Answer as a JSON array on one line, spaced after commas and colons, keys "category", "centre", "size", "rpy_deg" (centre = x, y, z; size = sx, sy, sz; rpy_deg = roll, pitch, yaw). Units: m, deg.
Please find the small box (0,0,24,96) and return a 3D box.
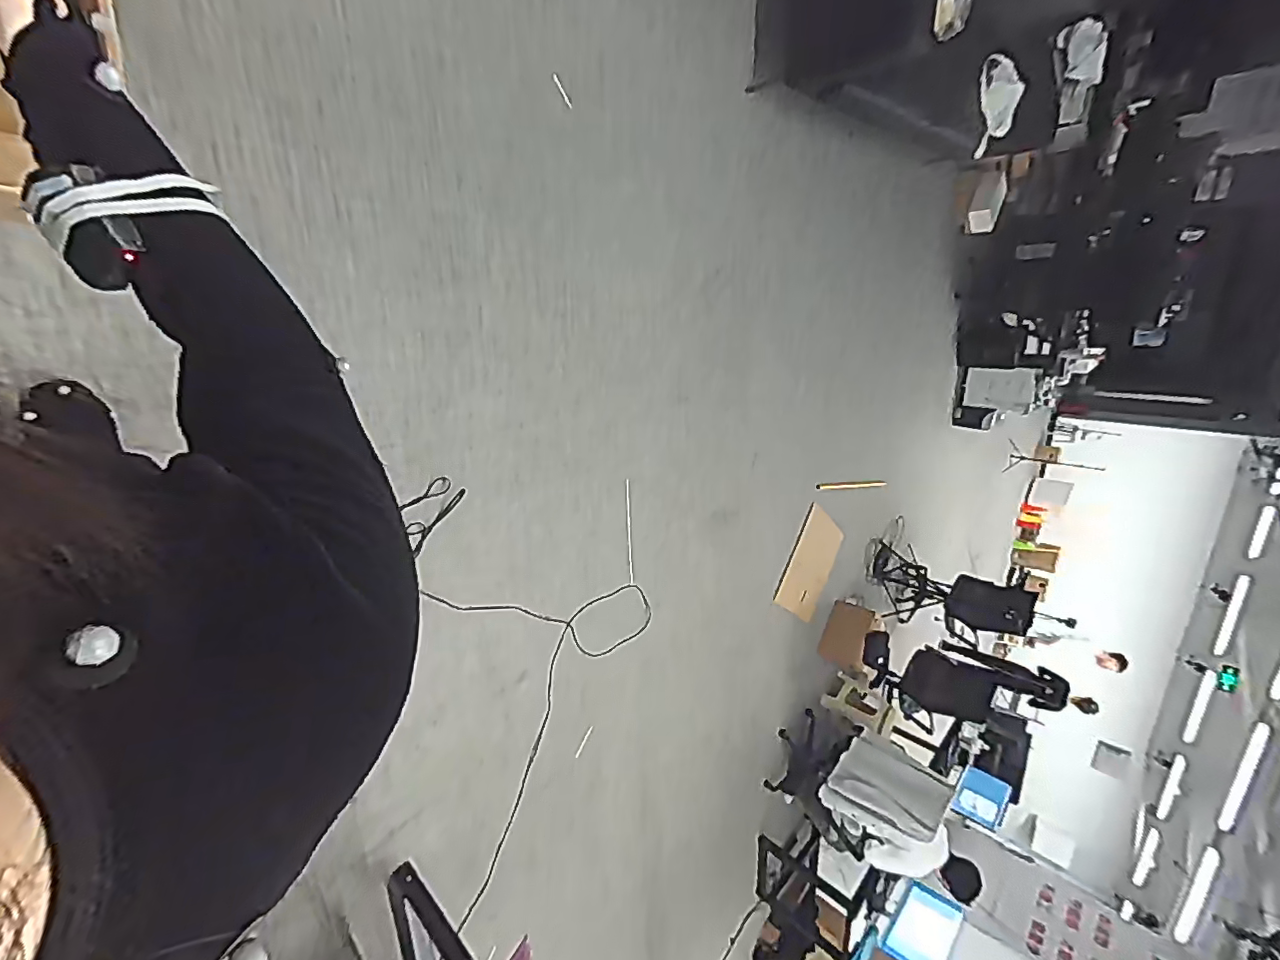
[{"category": "small box", "centre": [-0.606, -0.434, 0.408], "size": [0.168, 0.176, 0.179], "rpy_deg": [-9, 110, -44]}]
